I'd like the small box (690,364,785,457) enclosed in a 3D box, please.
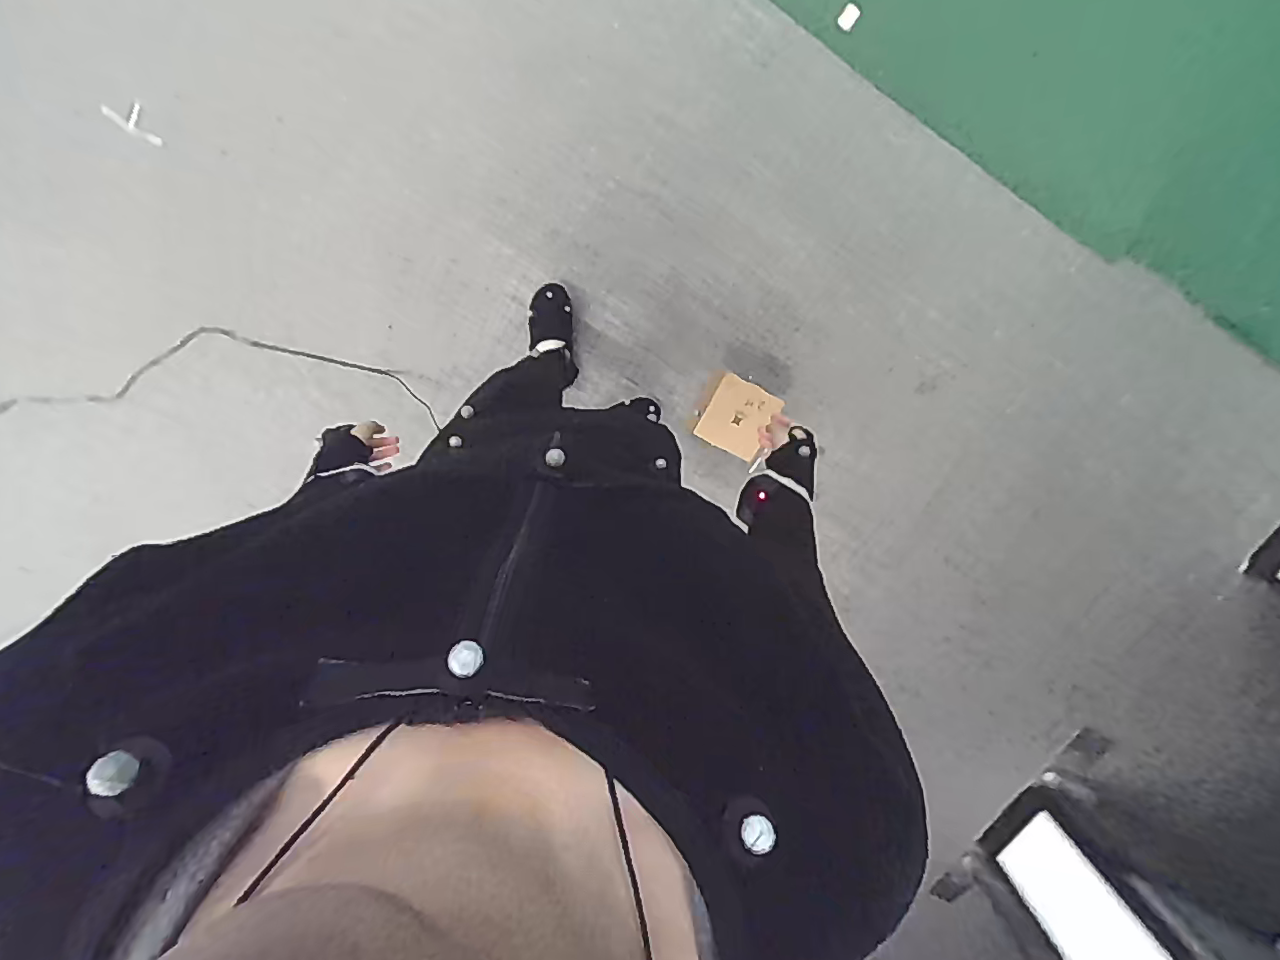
[{"bbox_3d":[0.241,-0.183,1.389,0.168,0.176,0.179,27,101,-7],"label":"small box"}]
